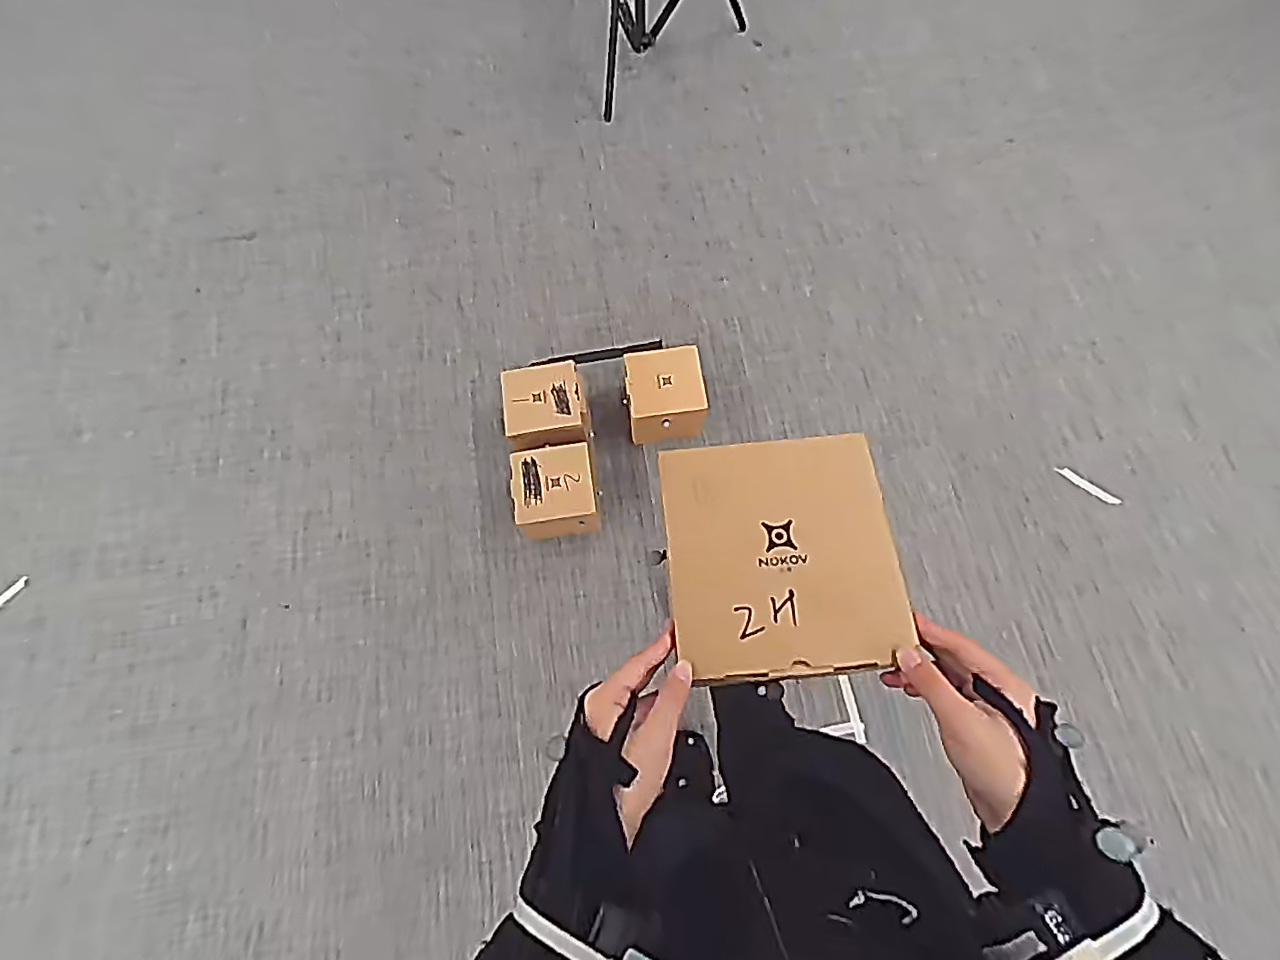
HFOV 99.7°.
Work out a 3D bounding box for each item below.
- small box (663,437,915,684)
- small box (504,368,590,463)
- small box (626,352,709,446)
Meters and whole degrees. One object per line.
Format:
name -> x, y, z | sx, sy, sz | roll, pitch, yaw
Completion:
small box -> 0.107, 0.081, 0.479 | 0.168, 0.176, 0.179 | -5, 68, 2
small box -> -0.219, -0.152, 1.317 | 0.179, 0.176, 0.168 | -9, 73, 0
small box -> 0.063, -0.193, 1.323 | 0.179, 0.176, 0.168 | -8, 73, 0
